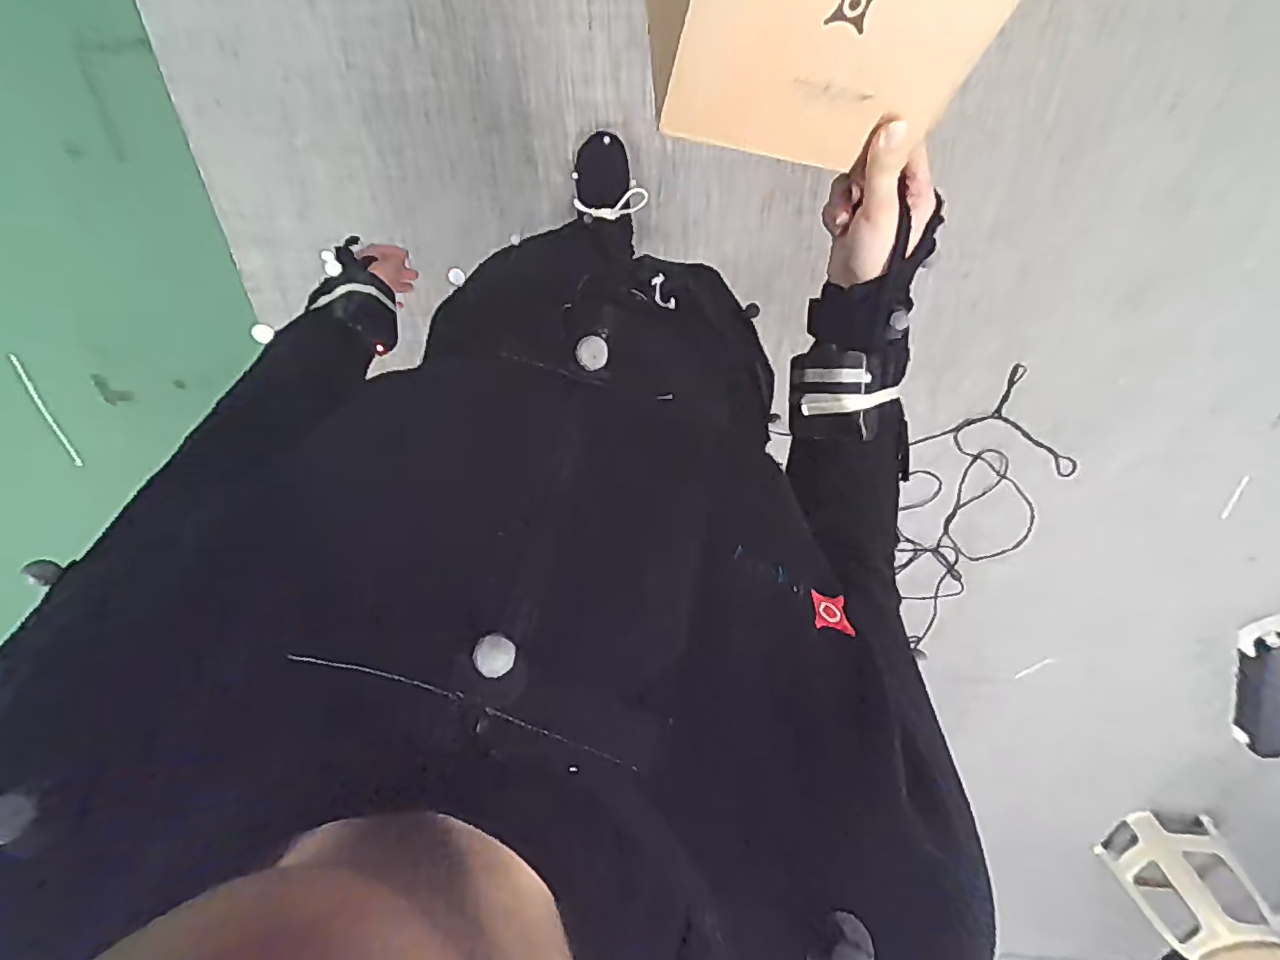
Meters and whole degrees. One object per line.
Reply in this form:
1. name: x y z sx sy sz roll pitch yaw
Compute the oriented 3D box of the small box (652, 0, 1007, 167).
1. small box: 0.103 -0.320 0.298 0.168 0.176 0.179 4 153 -13
